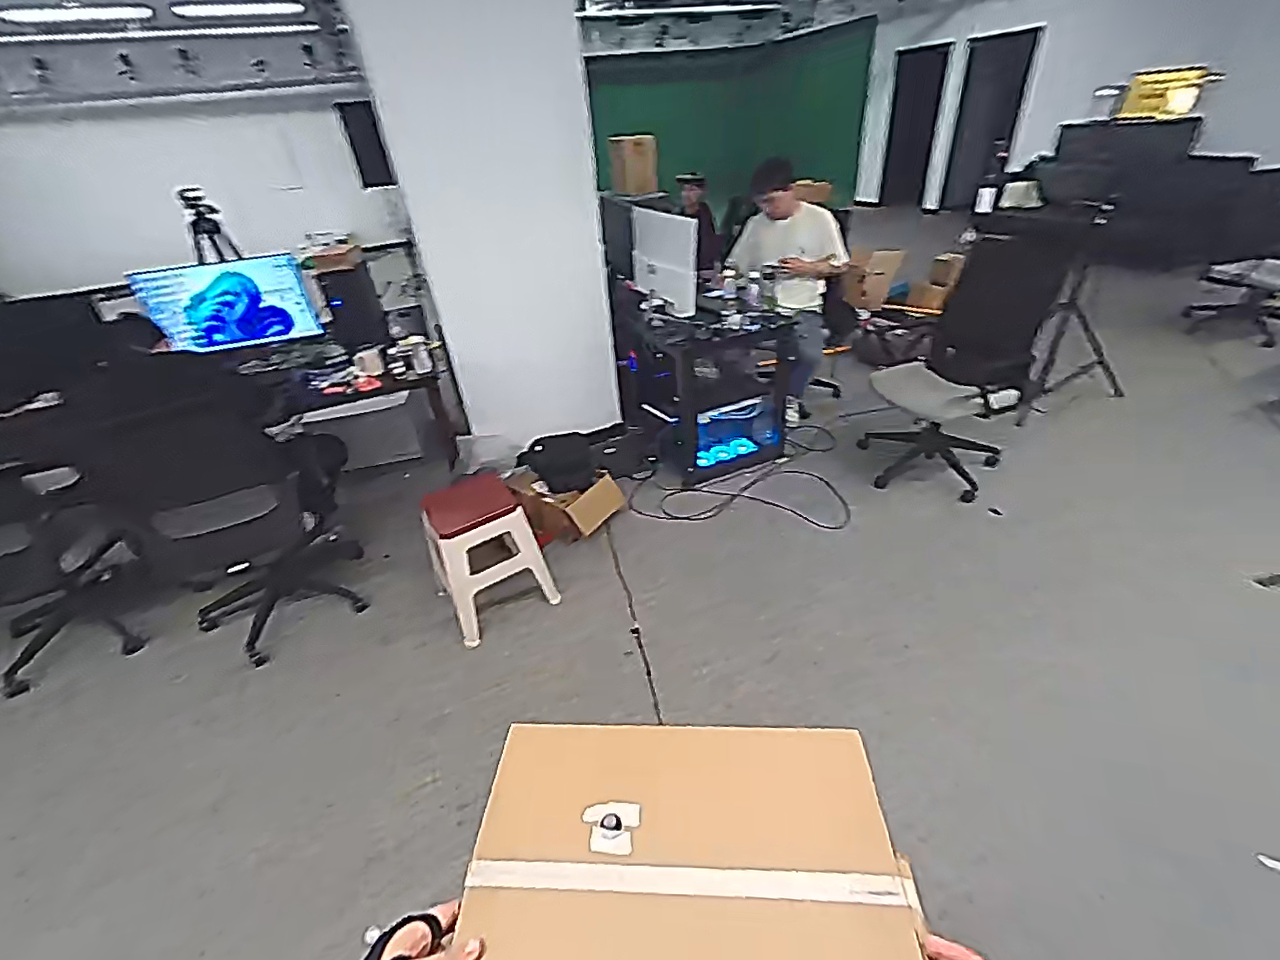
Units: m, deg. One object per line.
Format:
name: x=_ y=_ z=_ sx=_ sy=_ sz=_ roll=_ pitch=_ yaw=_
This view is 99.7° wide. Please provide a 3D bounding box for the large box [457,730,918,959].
large box: x=0.057 y=0.503 z=0.591 sx=0.408 sy=0.320 sz=0.320 roll=-3 pitch=33 yaw=8
